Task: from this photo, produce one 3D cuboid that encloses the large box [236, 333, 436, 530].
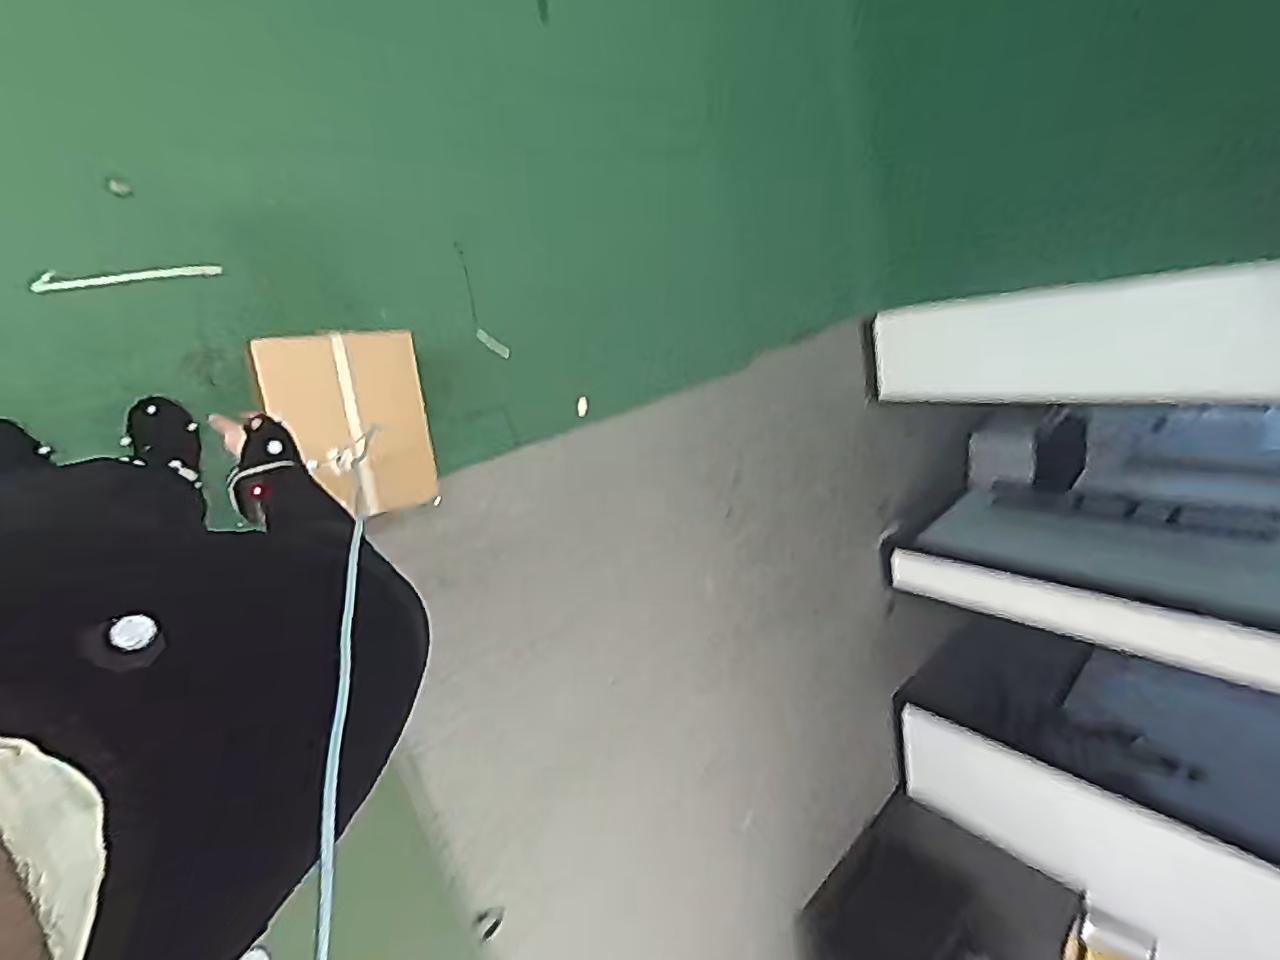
[{"bbox_3d":[-0.742,-0.134,1.323,0.320,0.320,0.408,-16,107,-36],"label":"large box"}]
